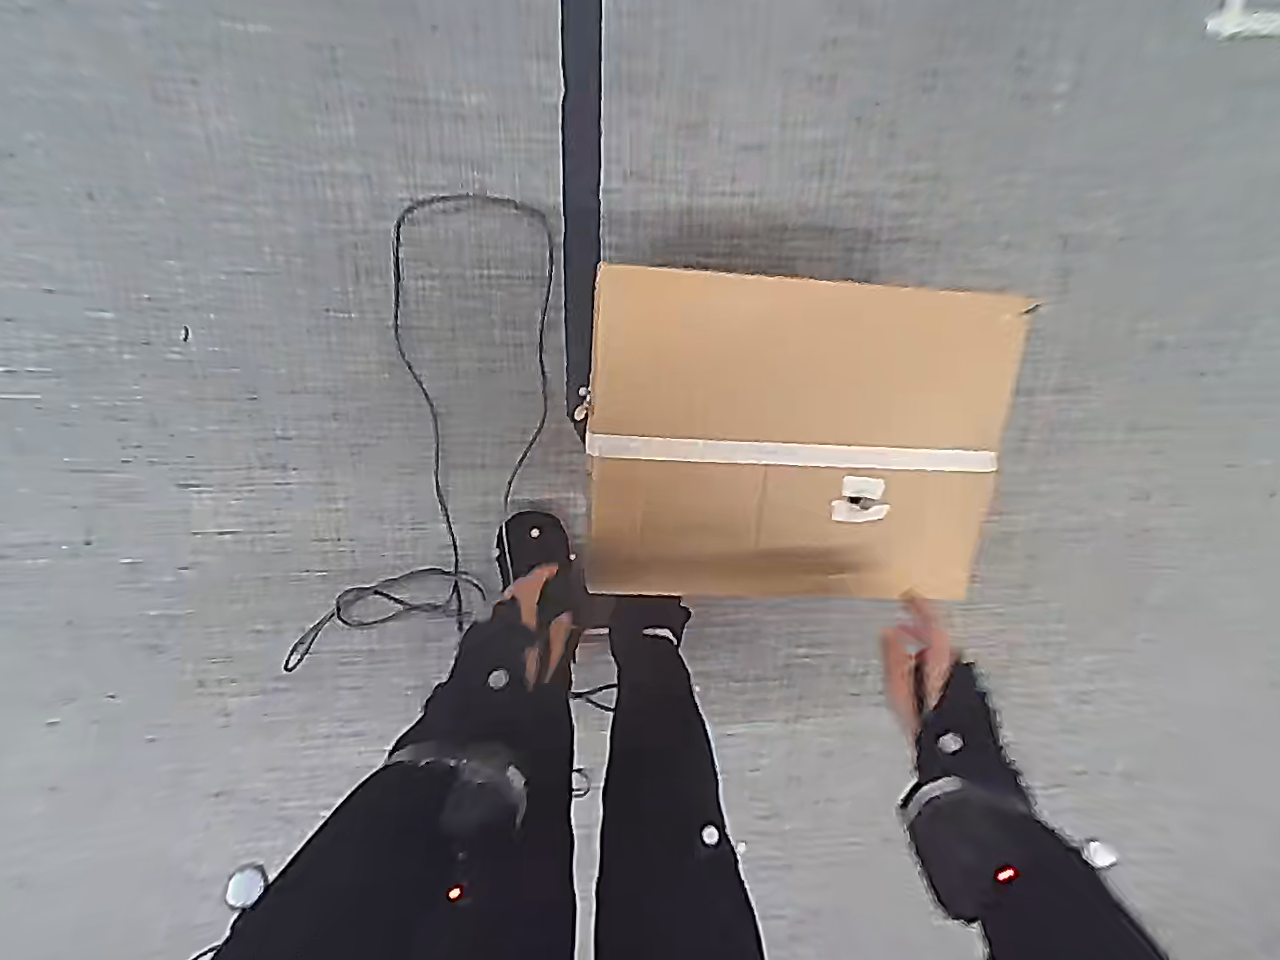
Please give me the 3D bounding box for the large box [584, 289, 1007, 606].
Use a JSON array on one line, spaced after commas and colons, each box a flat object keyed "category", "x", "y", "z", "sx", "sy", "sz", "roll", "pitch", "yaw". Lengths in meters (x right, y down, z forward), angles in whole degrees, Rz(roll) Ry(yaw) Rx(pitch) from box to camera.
[{"category": "large box", "x": 0.134, "y": -0.054, "z": 0.677, "sx": 0.408, "sy": 0.320, "sz": 0.320, "roll": 2, "pitch": 106, "yaw": -7}]
